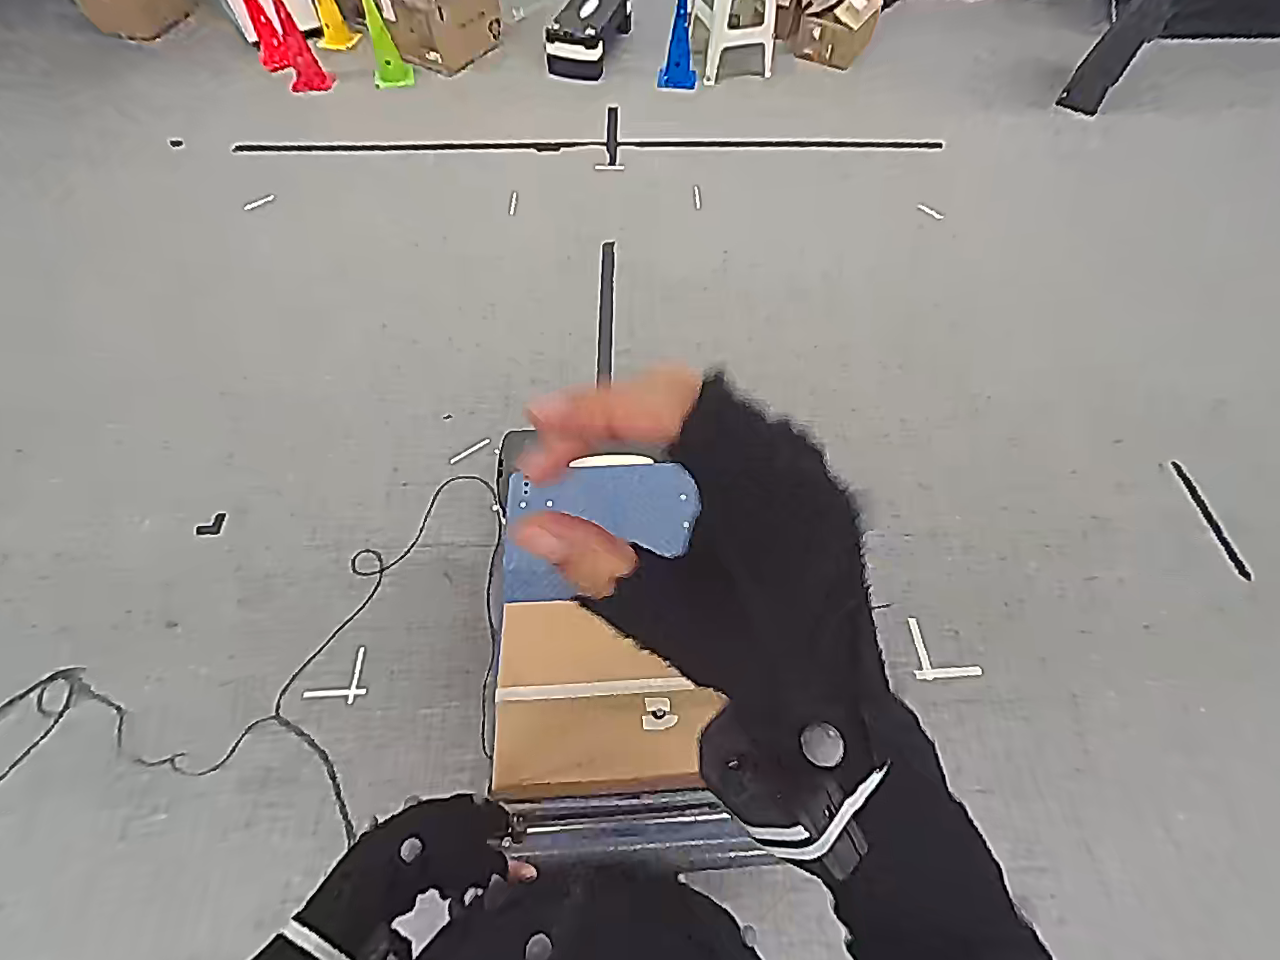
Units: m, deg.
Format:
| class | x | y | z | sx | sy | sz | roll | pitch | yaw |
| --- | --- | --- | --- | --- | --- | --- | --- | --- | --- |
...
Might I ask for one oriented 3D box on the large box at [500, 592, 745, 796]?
| class | x | y | z | sx | sy | sz | roll | pitch | yaw |
| --- | --- | --- | --- | --- | --- | --- | --- | --- | --- |
| large box | -0.042 | 0.428 | 1.065 | 0.408 | 0.320 | 0.320 | -2 | 60 | -3 |
